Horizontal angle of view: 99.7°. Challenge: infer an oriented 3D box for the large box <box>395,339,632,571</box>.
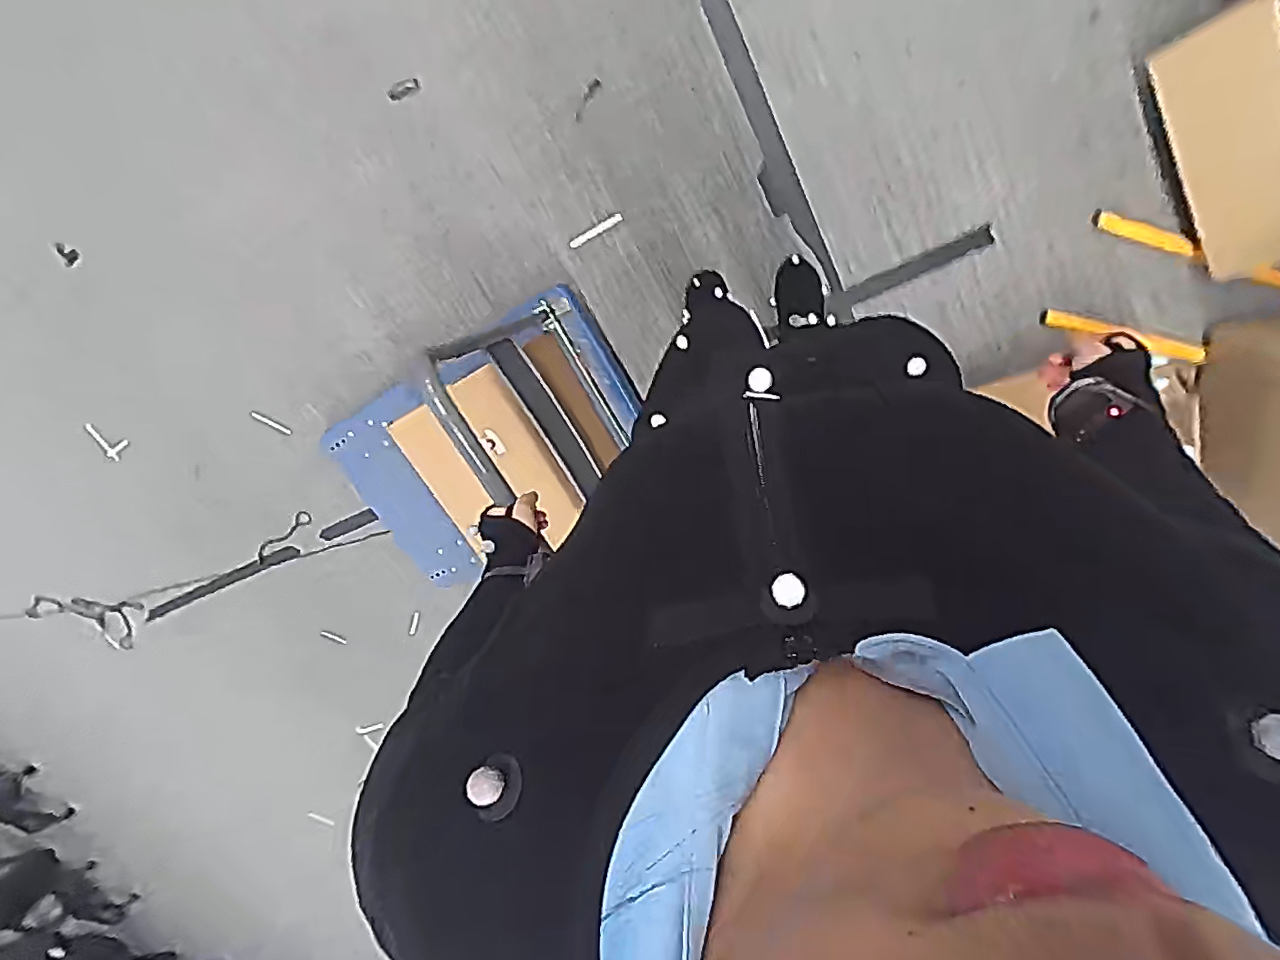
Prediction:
[{"bbox_3d":[-0.270,-0.066,1.282,0.320,0.320,0.408,-24,106,20],"label":"large box"}]
